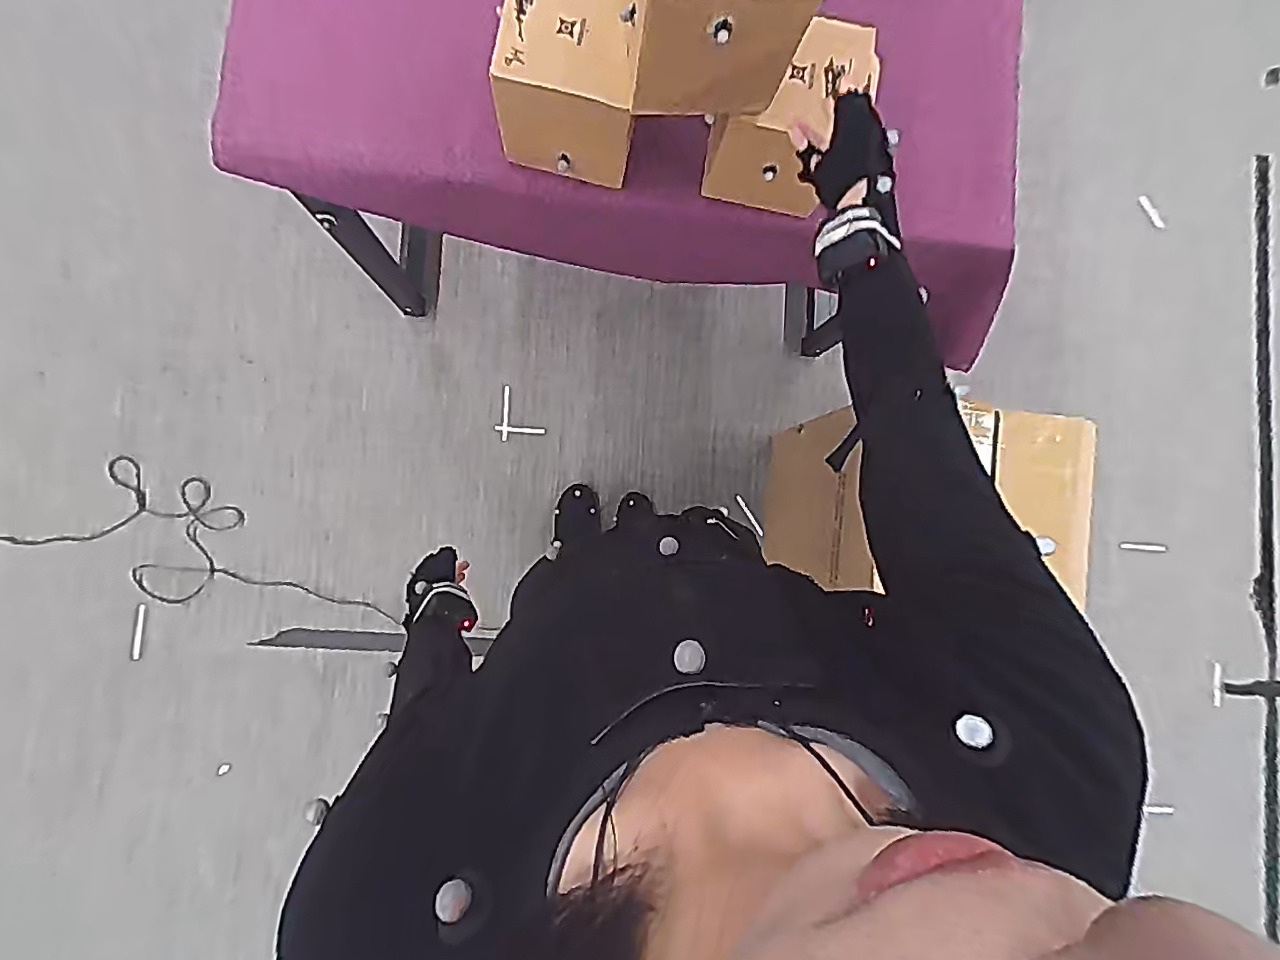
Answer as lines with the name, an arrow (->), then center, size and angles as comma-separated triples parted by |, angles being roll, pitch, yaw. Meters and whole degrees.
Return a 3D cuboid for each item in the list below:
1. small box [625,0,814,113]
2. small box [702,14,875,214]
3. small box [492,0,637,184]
small box -> 0.077, -0.538, 0.593 | 0.179, 0.176, 0.168 | -5, 88, -7
small box -> 0.200, -0.509, 0.768 | 0.179, 0.176, 0.168 | 9, 85, -5
small box -> -0.089, -0.540, 0.739 | 0.179, 0.176, 0.168 | 11, 85, -6
